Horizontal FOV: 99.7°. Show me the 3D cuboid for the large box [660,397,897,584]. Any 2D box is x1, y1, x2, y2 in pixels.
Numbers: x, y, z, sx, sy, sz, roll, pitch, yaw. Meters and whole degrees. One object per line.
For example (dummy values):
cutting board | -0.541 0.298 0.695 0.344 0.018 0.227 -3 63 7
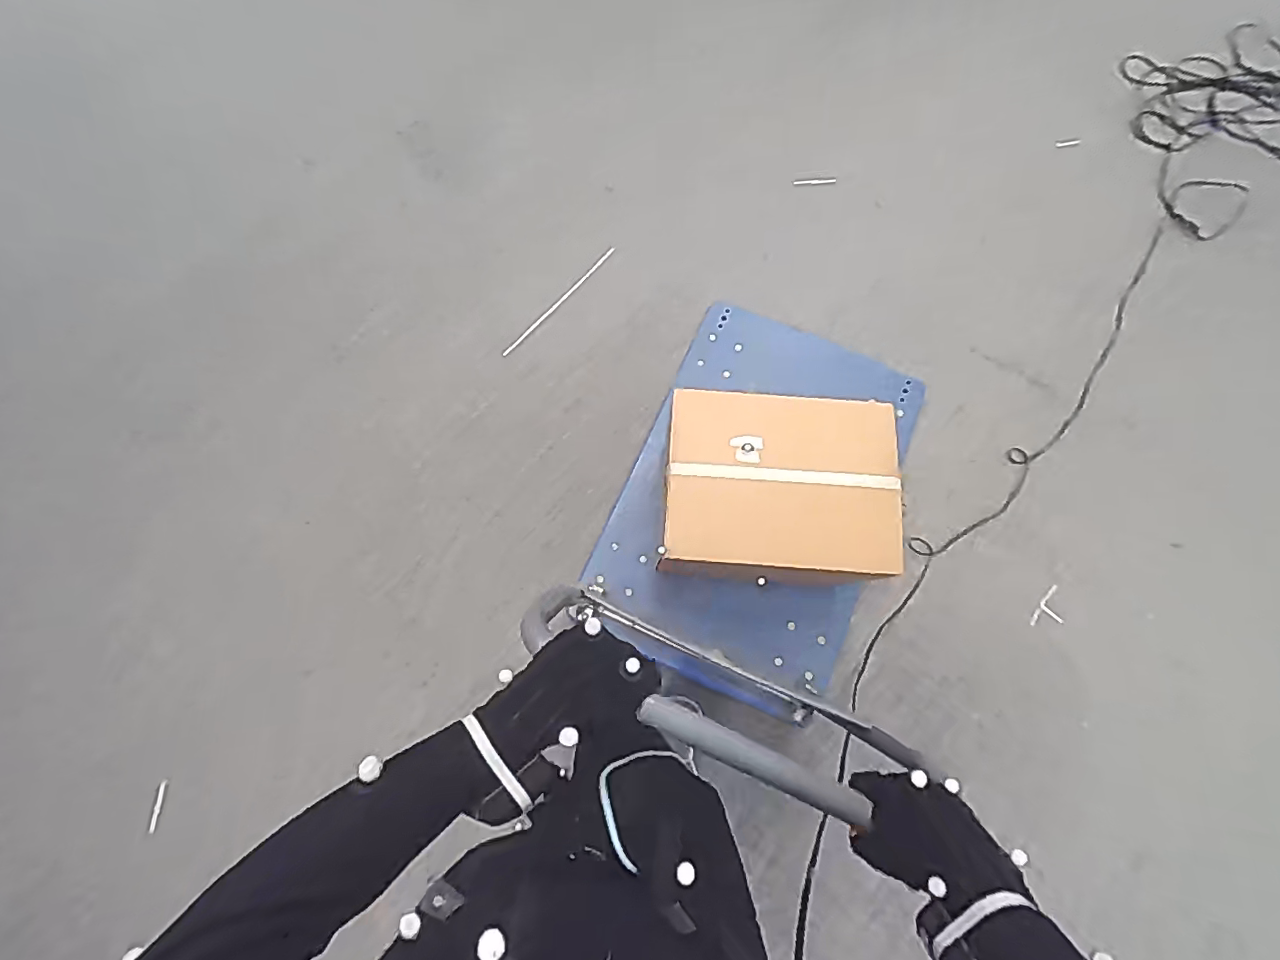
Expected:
large box | 0.251 0.041 1.105 0.408 0.320 0.320 4 73 1
